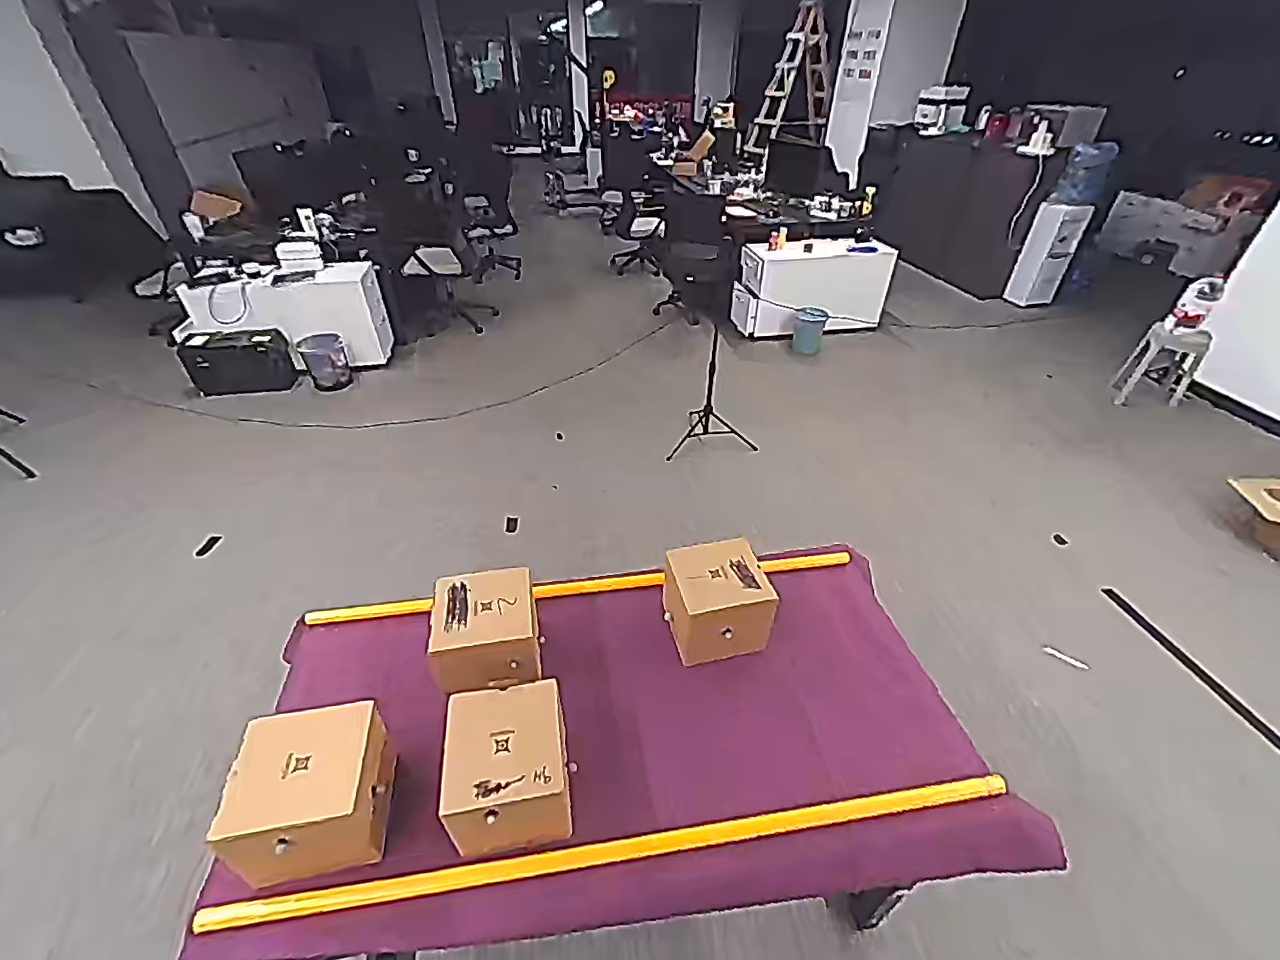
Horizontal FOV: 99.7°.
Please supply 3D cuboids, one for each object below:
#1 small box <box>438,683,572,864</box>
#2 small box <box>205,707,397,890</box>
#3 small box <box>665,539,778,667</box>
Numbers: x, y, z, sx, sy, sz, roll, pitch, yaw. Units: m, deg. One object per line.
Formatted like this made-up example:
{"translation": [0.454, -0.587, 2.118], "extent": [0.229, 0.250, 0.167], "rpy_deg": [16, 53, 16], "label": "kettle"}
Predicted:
{"translation": [-0.196, 0.443, 0.825], "extent": [0.168, 0.176, 0.179], "rpy_deg": [-7, 38, -8], "label": "small box"}
{"translation": [-0.474, 0.465, 0.795], "extent": [0.179, 0.176, 0.168], "rpy_deg": [-7, 38, -10], "label": "small box"}
{"translation": [0.153, 0.246, 1.080], "extent": [0.179, 0.176, 0.168], "rpy_deg": [-9, 40, -10], "label": "small box"}
